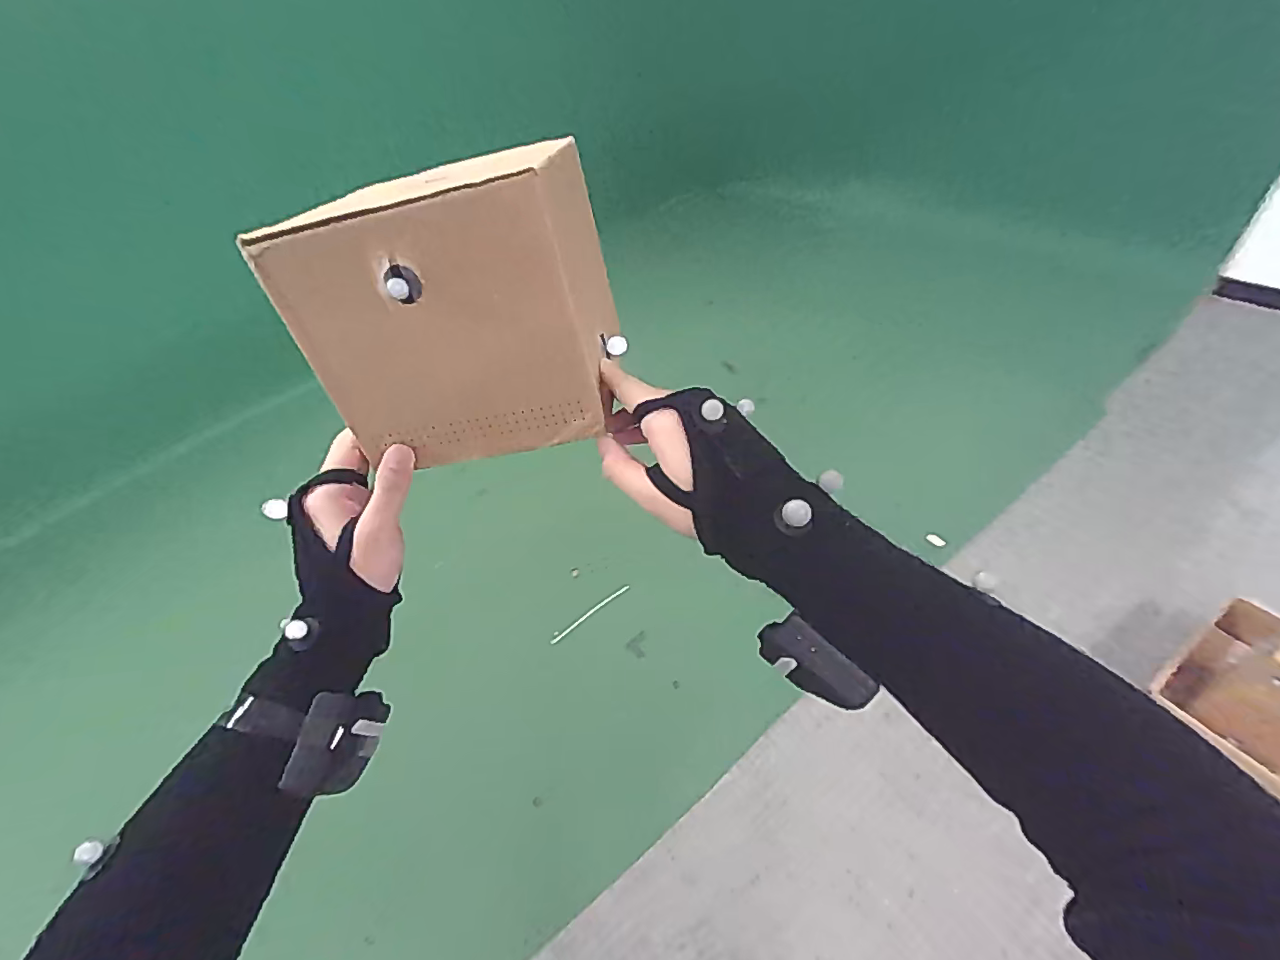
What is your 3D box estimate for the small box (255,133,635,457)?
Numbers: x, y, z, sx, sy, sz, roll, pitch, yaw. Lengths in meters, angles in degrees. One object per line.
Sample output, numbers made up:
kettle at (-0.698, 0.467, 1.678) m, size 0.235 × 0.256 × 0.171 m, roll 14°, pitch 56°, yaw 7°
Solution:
small box at (-0.109, -0.131, 0.392) m, size 0.179 × 0.176 × 0.168 m, roll -8°, pitch 36°, yaw 8°
